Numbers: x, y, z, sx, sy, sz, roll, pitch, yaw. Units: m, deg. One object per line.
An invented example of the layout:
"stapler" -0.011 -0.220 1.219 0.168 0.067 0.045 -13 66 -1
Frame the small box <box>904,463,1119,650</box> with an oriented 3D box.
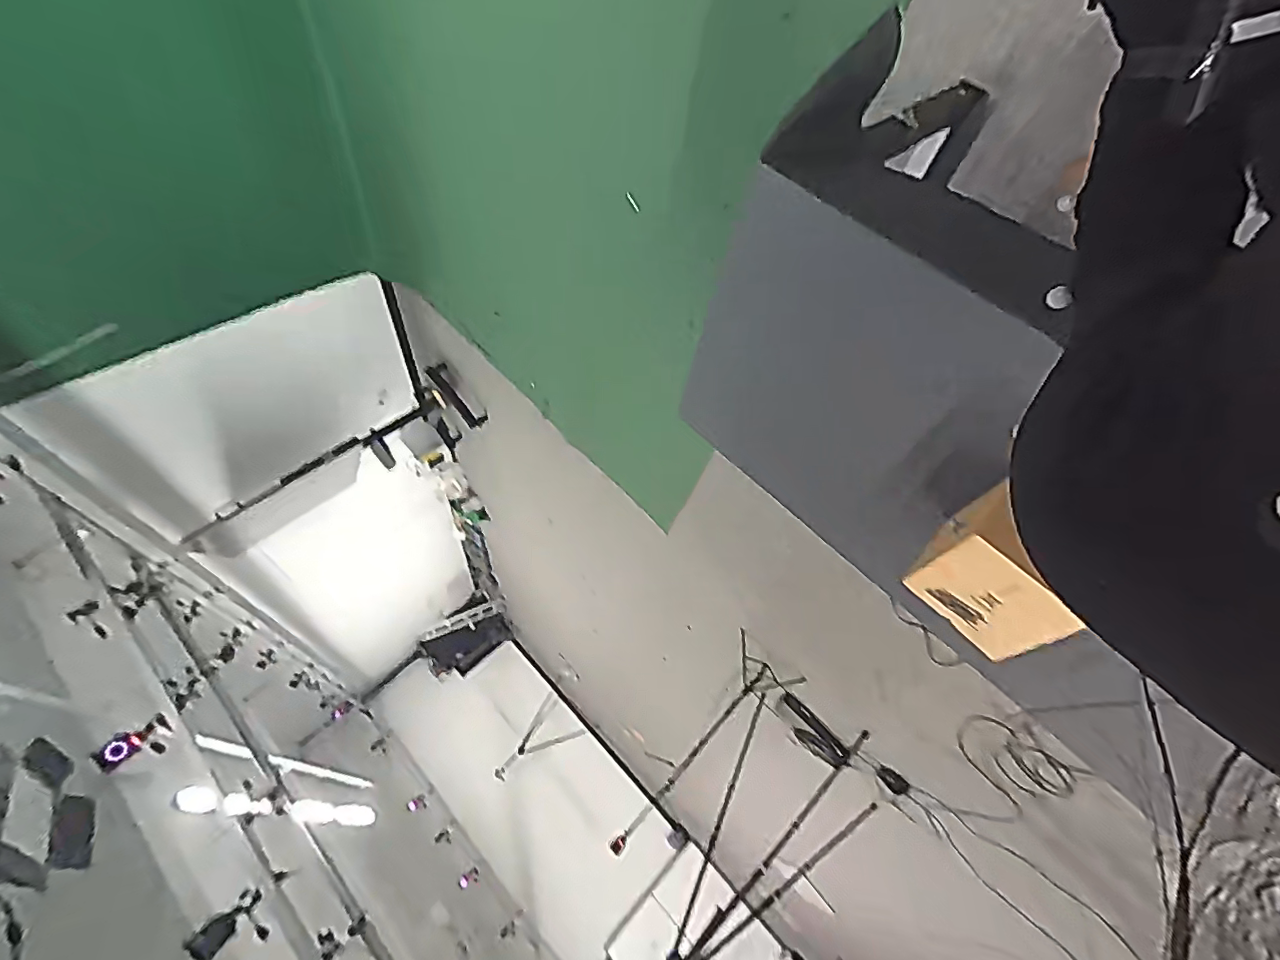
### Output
"small box" 0.535 0.110 0.786 0.168 0.176 0.179 43 150 16
